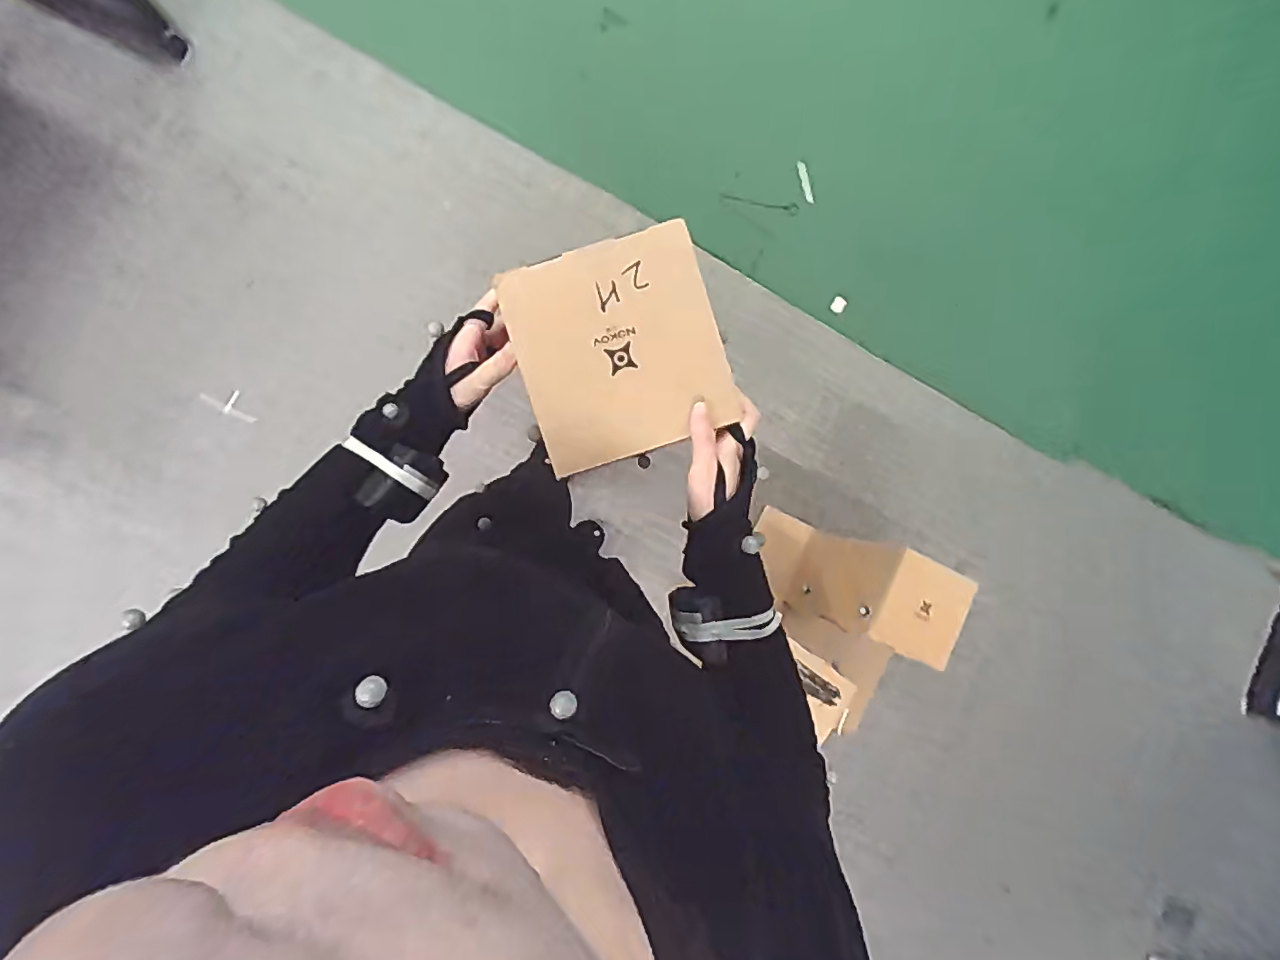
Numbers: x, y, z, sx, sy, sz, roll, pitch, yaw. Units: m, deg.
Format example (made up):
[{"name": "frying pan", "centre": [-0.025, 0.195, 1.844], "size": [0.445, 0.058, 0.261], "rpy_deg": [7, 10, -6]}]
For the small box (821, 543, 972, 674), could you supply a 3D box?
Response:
[{"name": "small box", "centre": [0.481, 0.235, 1.040], "size": [0.168, 0.176, 0.179], "rpy_deg": [27, 86, -10]}]

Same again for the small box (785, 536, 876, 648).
[{"name": "small box", "centre": [0.447, 0.239, 1.199], "size": [0.168, 0.176, 0.179], "rpy_deg": [26, 85, -10]}]

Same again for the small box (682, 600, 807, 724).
[{"name": "small box", "centre": [0.215, 0.379, 1.158], "size": [0.179, 0.176, 0.168], "rpy_deg": [32, 86, -8]}]
